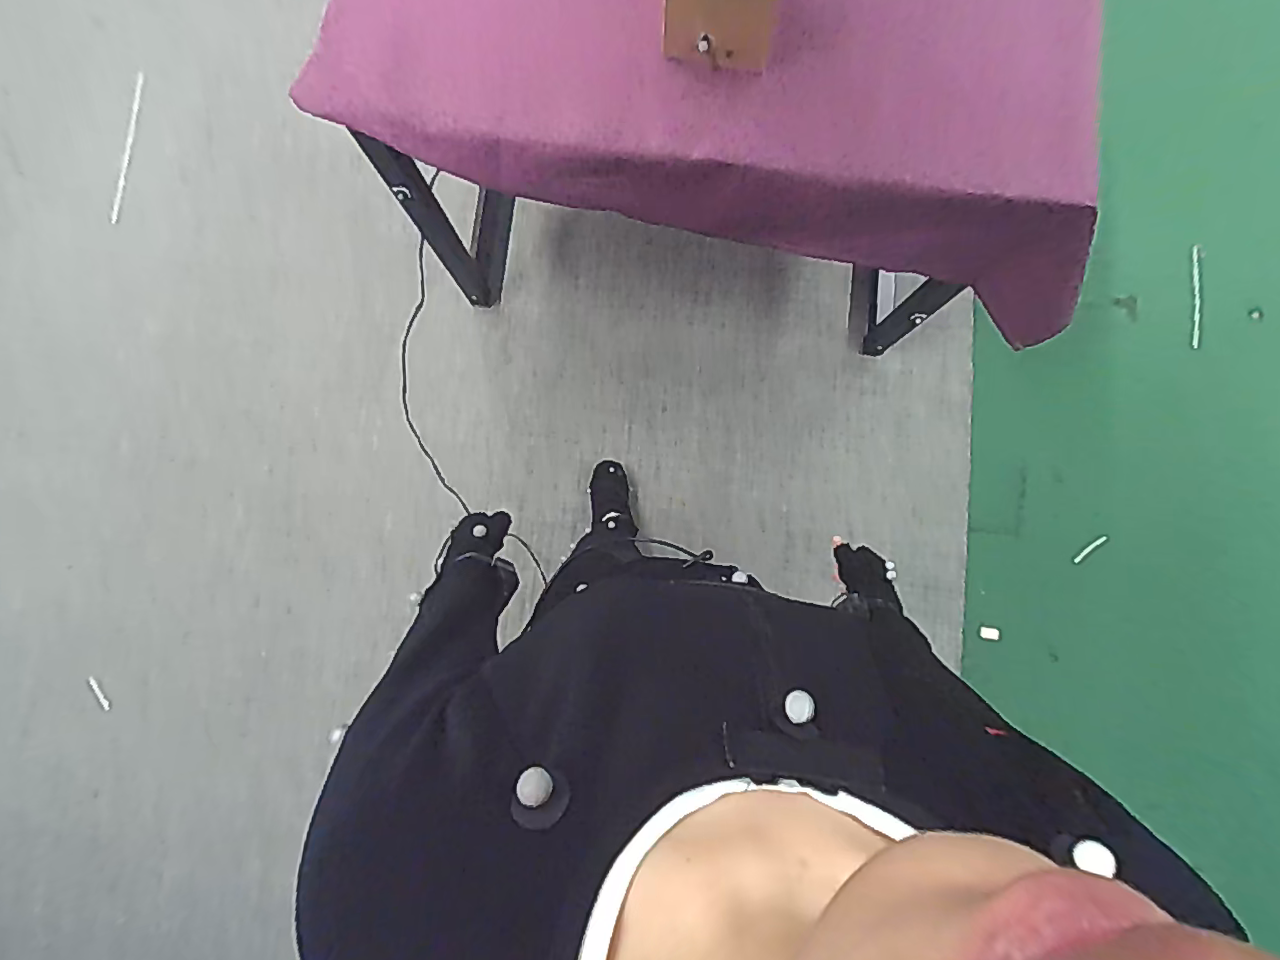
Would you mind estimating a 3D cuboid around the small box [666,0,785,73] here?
[{"bbox_3d":[0.133,-0.743,0.776,0.168,0.176,0.179,11,84,2],"label":"small box"}]
